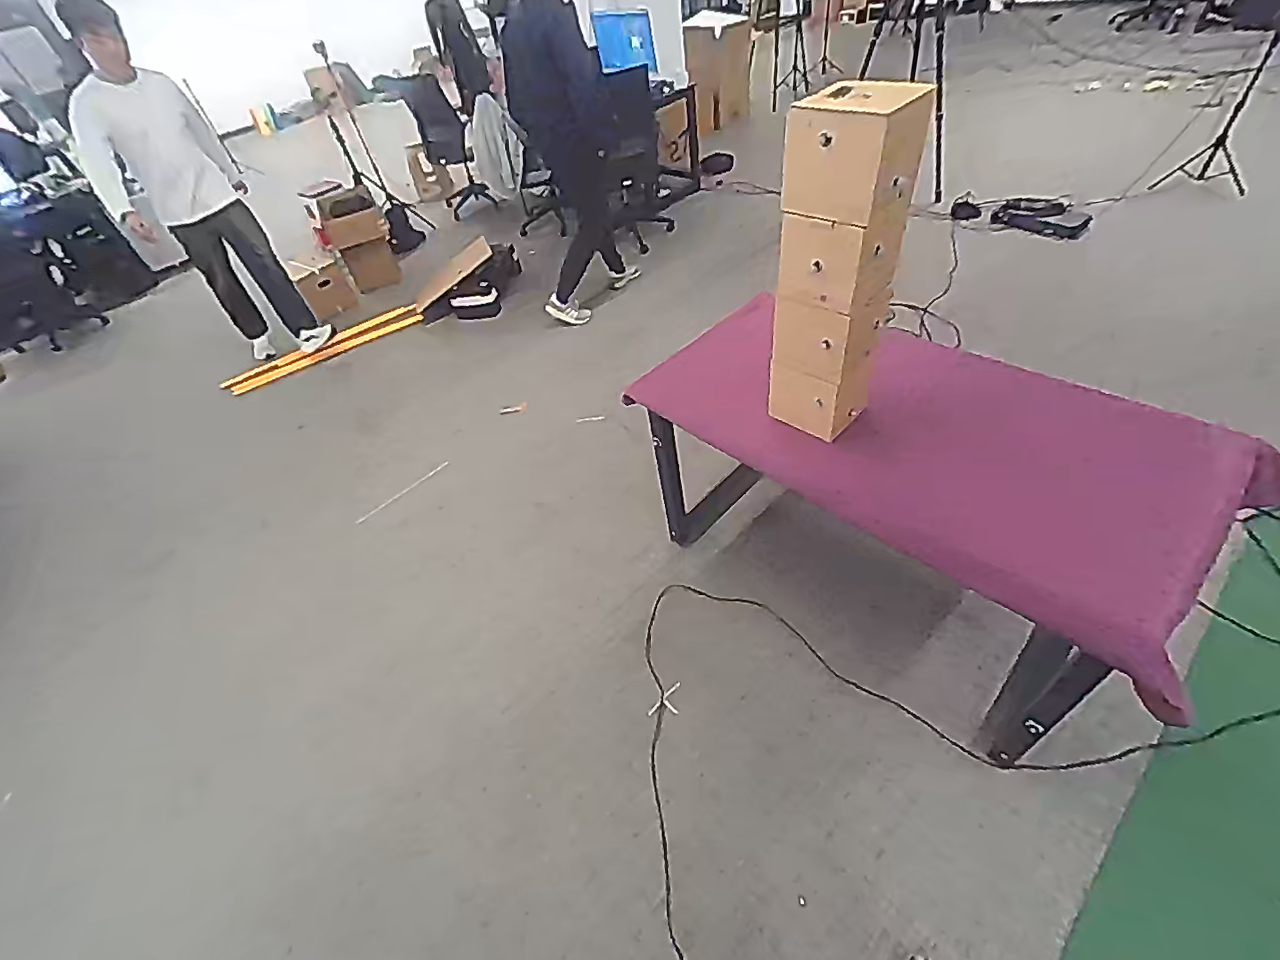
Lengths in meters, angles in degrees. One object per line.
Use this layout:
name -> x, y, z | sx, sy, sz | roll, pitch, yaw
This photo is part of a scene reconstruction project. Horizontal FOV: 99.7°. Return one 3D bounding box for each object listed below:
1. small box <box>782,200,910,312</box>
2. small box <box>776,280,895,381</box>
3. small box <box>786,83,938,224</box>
small box -> 0.395, -0.454, 1.054 | 0.168, 0.176, 0.179 | 32, 60, 33
small box -> 0.413, -0.338, 1.168 | 0.168, 0.176, 0.179 | -39, 51, -24
small box -> 0.371, -0.564, 0.934 | 0.179, 0.176, 0.168 | 32, 59, 33
